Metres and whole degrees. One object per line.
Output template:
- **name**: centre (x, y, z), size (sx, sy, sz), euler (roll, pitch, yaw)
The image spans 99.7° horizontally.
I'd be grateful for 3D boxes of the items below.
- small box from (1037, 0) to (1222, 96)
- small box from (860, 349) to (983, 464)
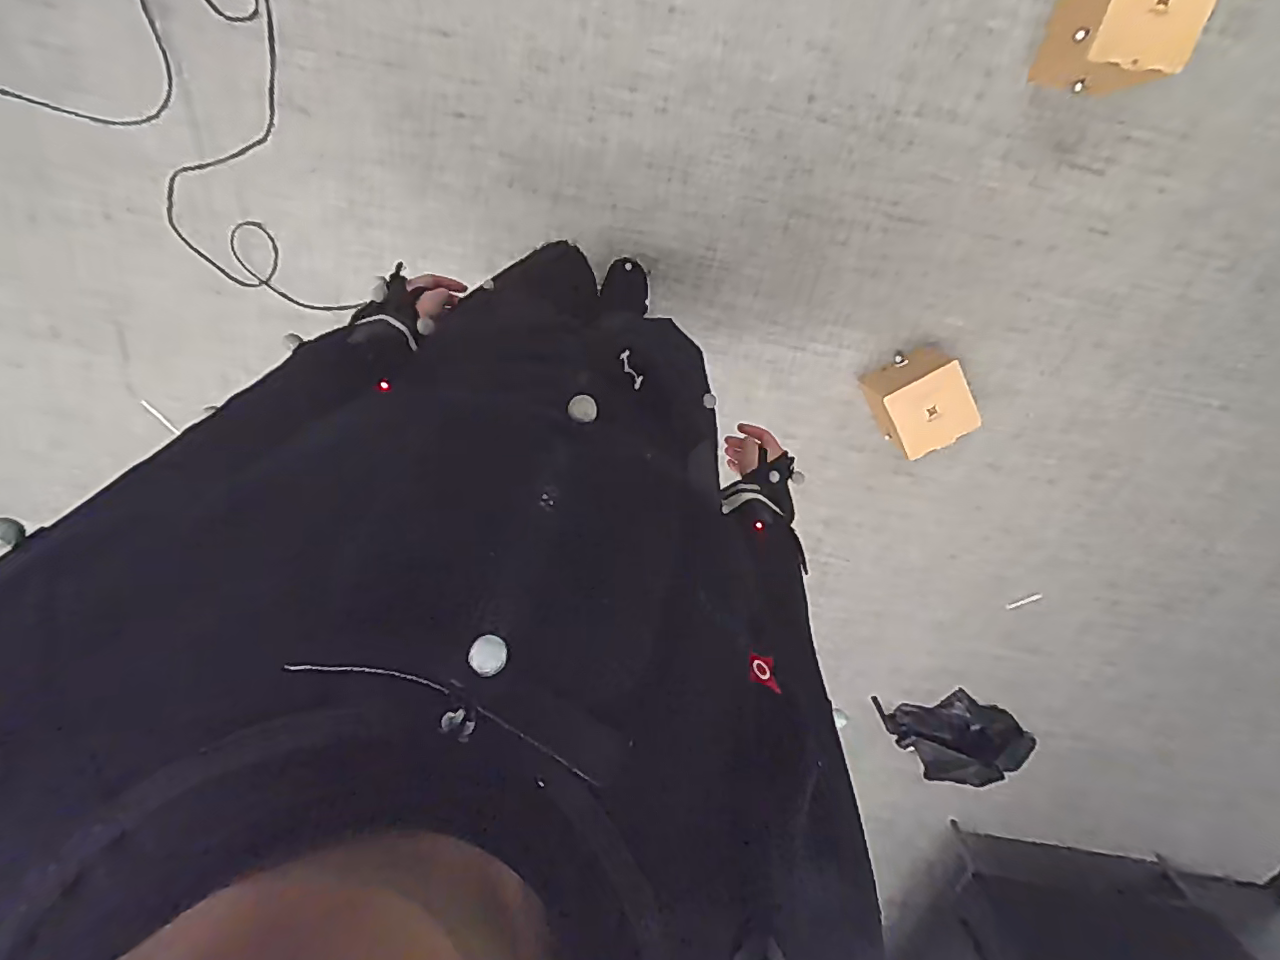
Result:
- **small box**: centre (0.834, -0.788, 0.925), size (0.168, 0.176, 0.179), euler (8, 116, -2)
- **small box**: centre (0.631, -0.172, 1.230), size (0.168, 0.176, 0.179), euler (-30, 110, 14)
